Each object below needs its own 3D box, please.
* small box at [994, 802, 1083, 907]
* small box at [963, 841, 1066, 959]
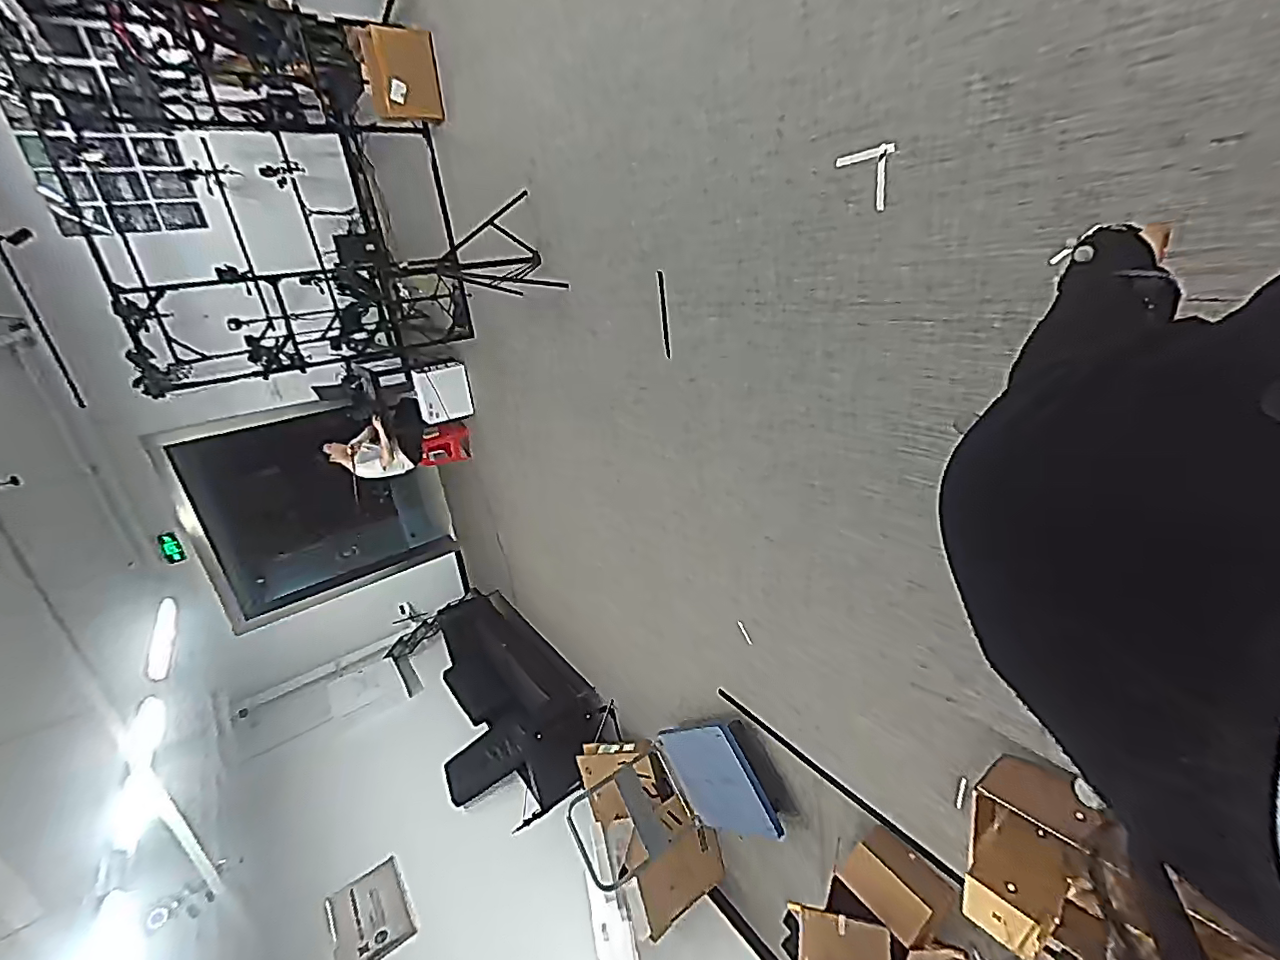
[{"bbox_3d":[1.140,1.081,1.553,0.168,0.176,0.179,19,124,52],"label":"small box"},{"bbox_3d":[1.012,1.130,1.466,0.179,0.176,0.168,17,122,51],"label":"small box"}]
